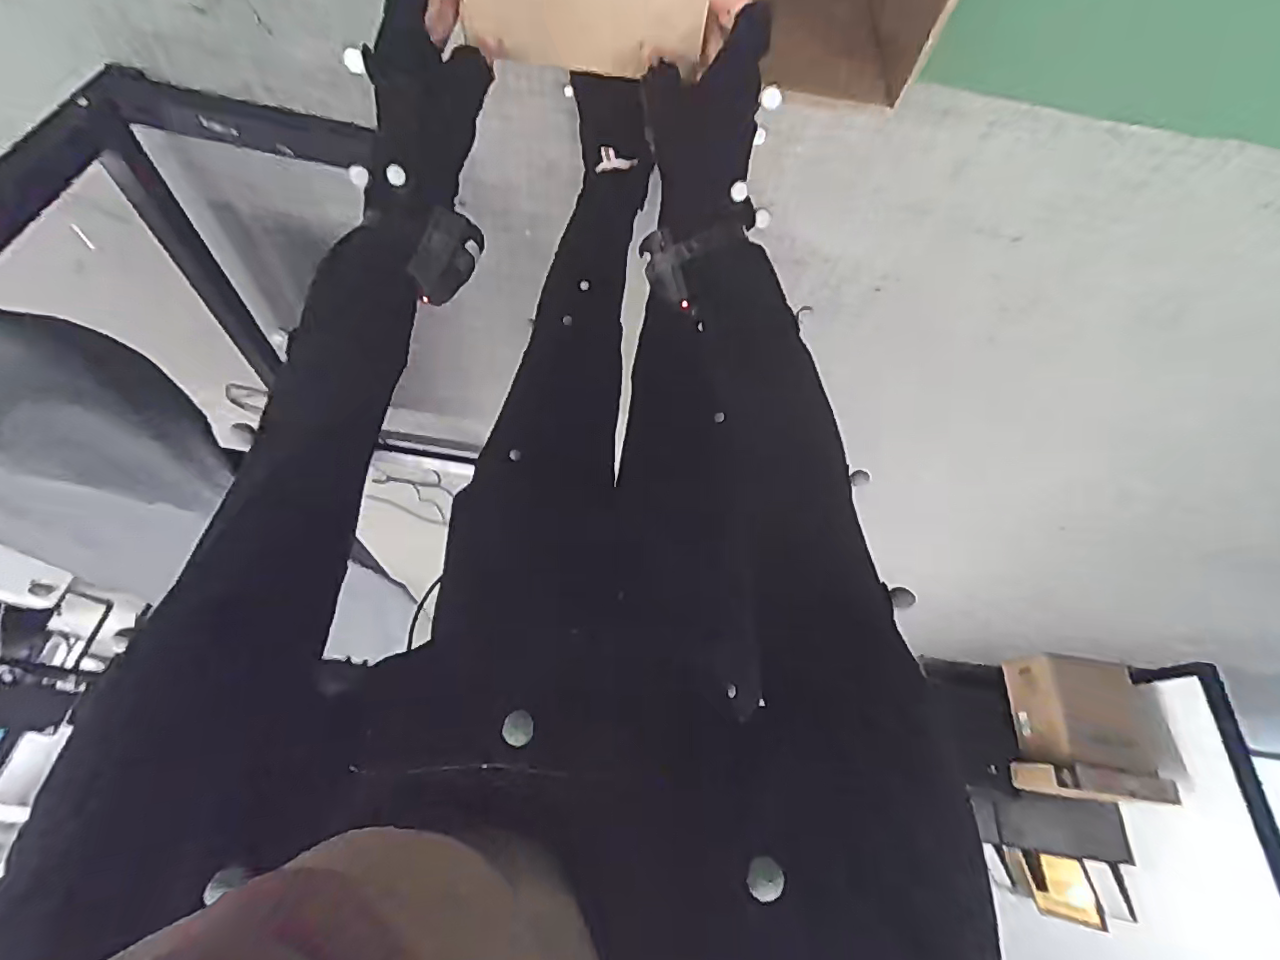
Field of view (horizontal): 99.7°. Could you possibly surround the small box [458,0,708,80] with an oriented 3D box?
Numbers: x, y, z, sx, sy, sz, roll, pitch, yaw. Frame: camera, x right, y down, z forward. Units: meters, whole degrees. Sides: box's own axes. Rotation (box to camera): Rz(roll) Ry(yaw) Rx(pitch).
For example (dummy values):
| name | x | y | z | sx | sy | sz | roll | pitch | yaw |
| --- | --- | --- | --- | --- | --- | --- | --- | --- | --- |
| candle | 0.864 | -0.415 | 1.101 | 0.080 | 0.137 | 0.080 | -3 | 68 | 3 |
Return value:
| name | x | y | z | sx | sy | sz | roll | pitch | yaw |
| --- | --- | --- | --- | --- | --- | --- | --- | --- | --- |
| small box | -0.037 | -0.425 | 0.385 | 0.179 | 0.176 | 0.168 | 1 | 148 | -8 |
